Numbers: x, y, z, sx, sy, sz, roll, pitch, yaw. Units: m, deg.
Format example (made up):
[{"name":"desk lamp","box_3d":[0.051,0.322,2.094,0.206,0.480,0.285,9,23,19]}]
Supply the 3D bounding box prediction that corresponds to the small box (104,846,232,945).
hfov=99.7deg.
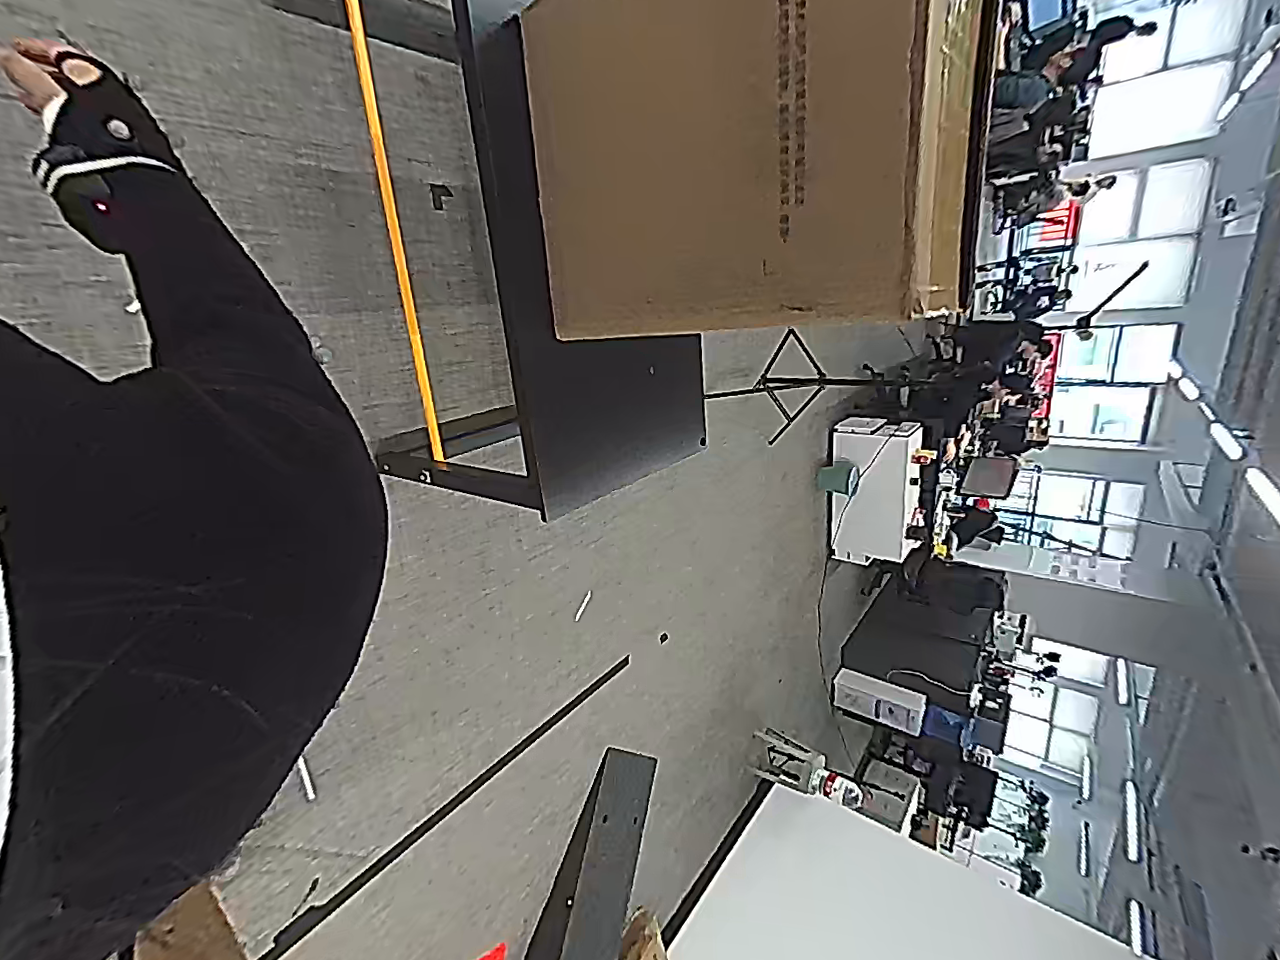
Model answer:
[{"name":"small box","box_3d":[-1.056,0.982,1.215,0.168,0.176,0.179,-25,115,-48]}]

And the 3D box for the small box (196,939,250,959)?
[{"name":"small box","box_3d":[-0.805,1.016,1.006,0.168,0.176,0.179,-23,115,-48]}]

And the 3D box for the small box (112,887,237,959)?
[{"name":"small box","box_3d":[-0.933,0.997,1.106,0.168,0.176,0.179,-24,116,-48]}]
